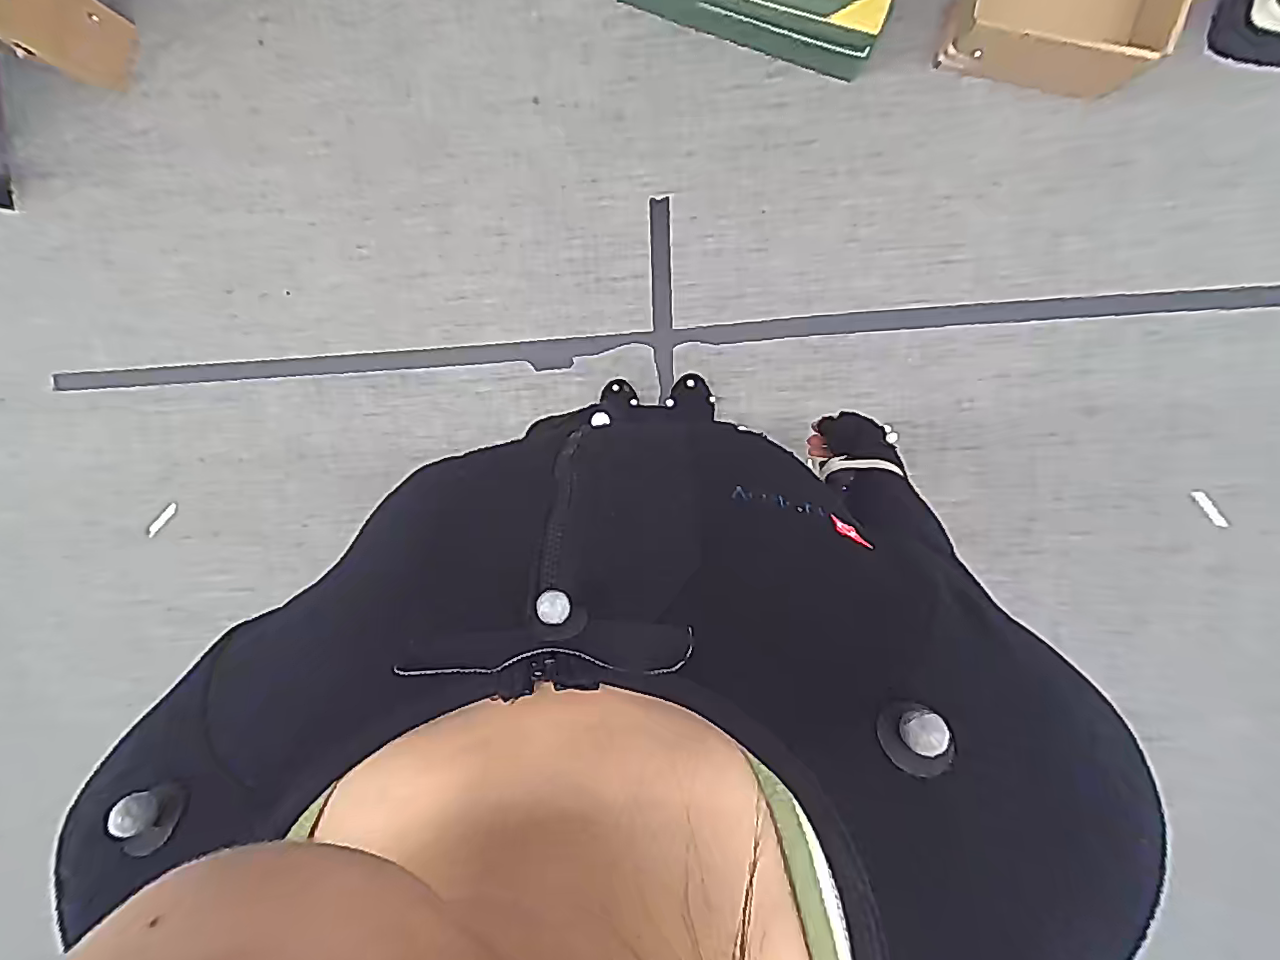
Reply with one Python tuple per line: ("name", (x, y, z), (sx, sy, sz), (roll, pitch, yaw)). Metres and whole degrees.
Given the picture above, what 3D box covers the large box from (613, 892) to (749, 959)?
("large box", (0.116, 1.526, 1.635), (0.408, 0.320, 0.320), (5, 101, 2))
